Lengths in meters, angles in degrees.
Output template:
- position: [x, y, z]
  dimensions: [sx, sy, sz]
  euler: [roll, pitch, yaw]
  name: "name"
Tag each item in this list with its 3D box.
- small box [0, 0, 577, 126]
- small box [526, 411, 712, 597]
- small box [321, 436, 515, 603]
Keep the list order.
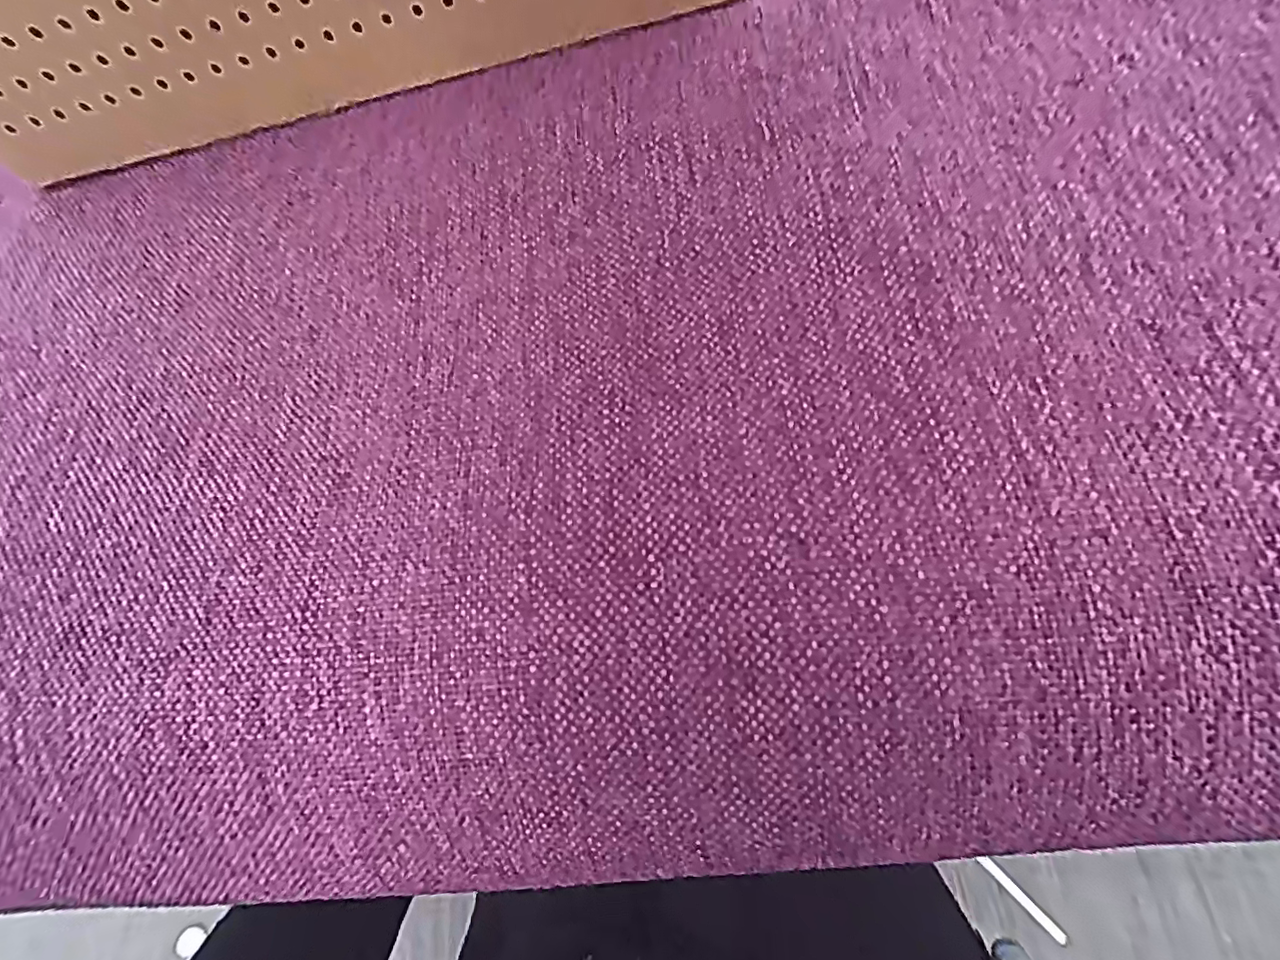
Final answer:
- position: [-0.077, -0.196, 0.076]
  dimensions: [0.179, 0.176, 0.168]
  euler: [-9, 68, 8]
  name: "small box"
- position: [-0.018, 0.039, 0.628]
  dimensions: [0.179, 0.176, 0.168]
  euler: [-10, 75, 2]
  name: "small box"
- position: [-0.267, 0.060, 0.691]
  dimensions: [0.179, 0.176, 0.168]
  euler: [-10, 72, 7]
  name: "small box"
